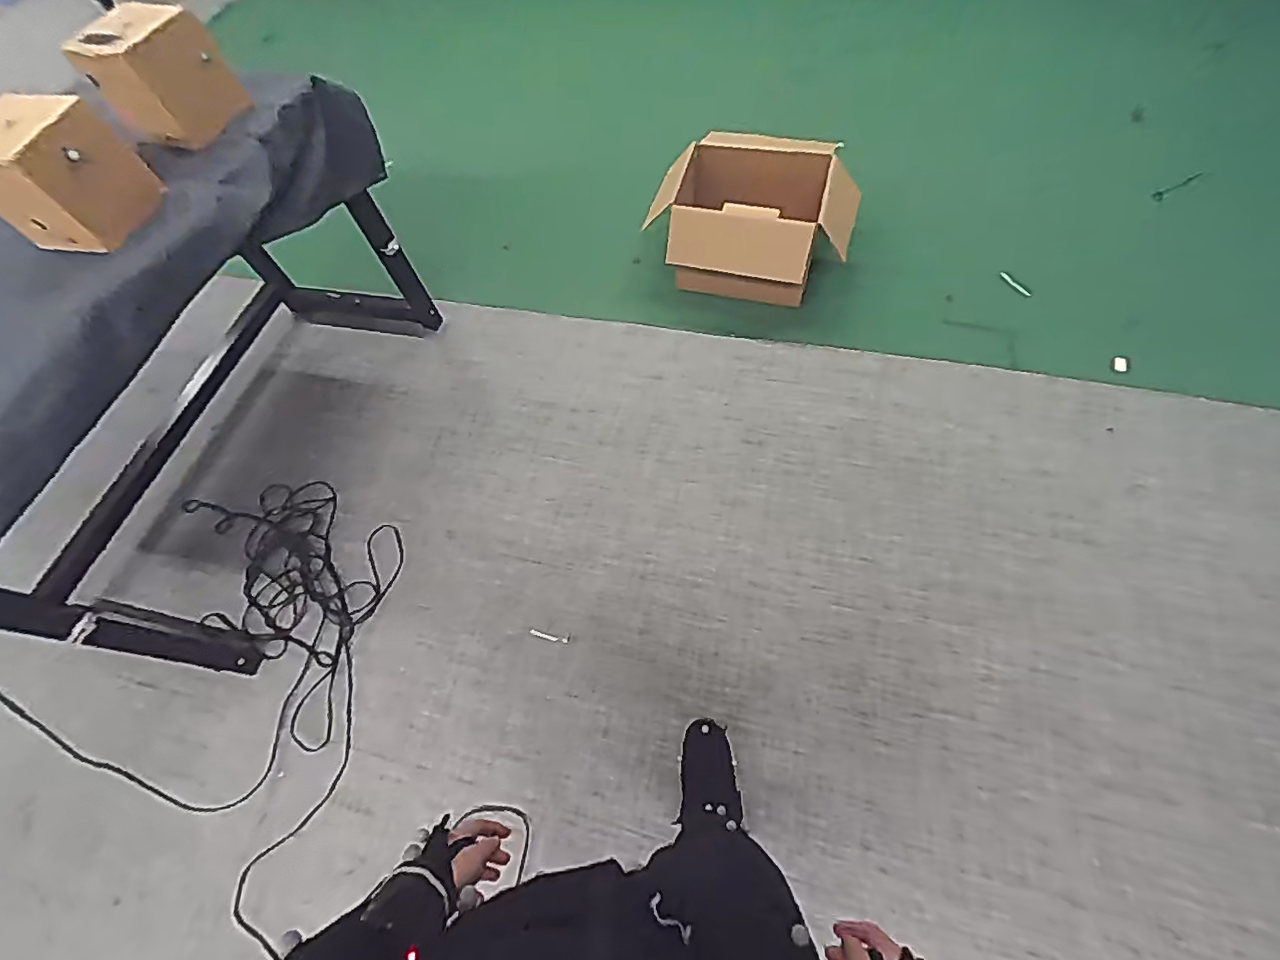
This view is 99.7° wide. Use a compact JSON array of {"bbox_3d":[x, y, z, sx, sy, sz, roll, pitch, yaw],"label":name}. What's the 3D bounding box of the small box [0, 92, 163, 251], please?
[{"bbox_3d":[-0.990,-0.528,0.931,0.168,0.176,0.179,8,64,10],"label":"small box"}]
